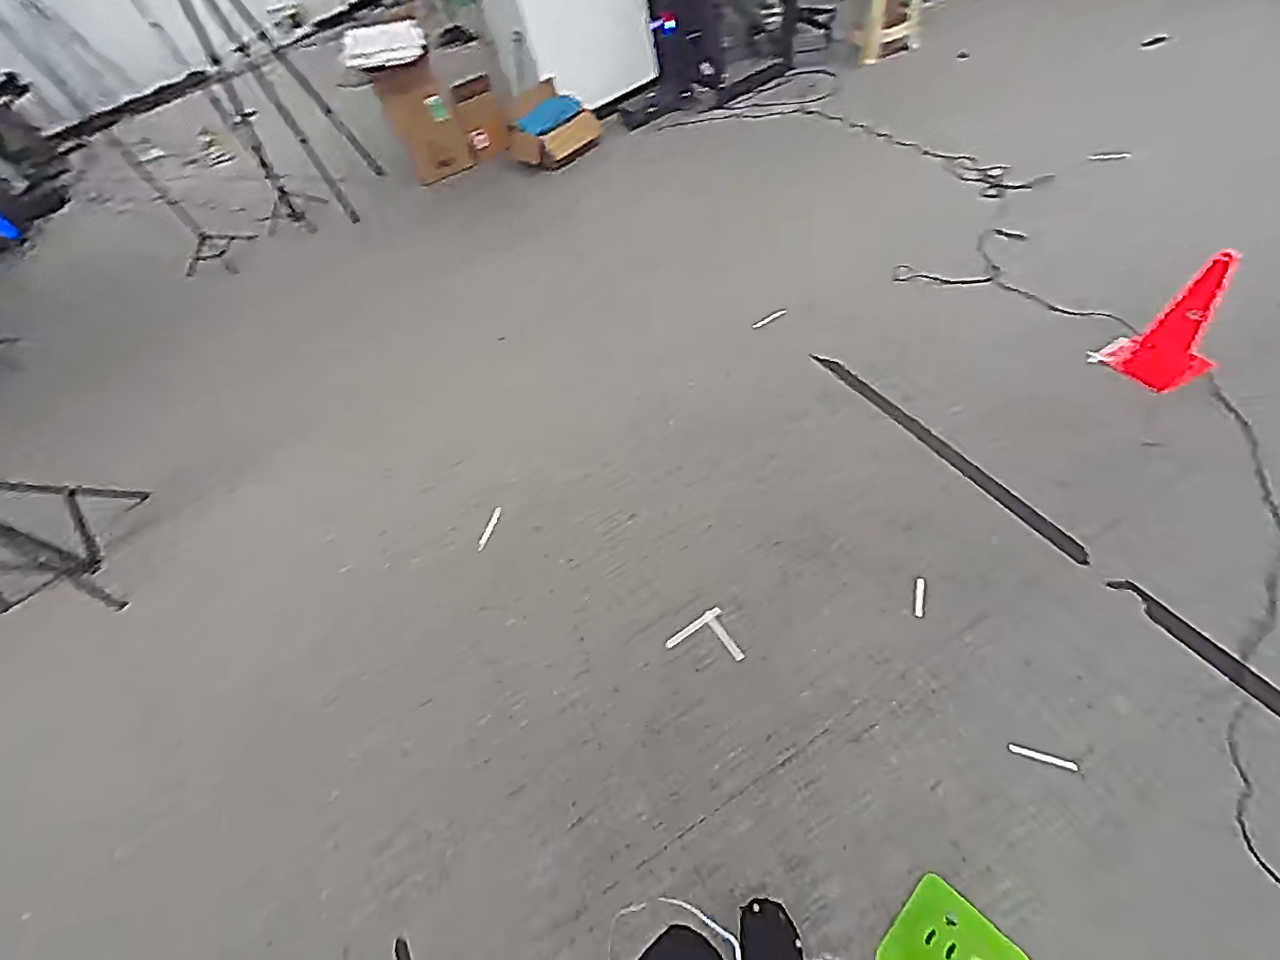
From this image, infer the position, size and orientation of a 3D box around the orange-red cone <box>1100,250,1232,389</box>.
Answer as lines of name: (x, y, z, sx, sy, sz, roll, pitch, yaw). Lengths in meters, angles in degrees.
orange-red cone: (1.493, -0.460, 1.481, 0.198, 0.360, 0.199, -25, 52, -3)

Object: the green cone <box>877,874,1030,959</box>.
green cone: (0.525, 0.768, 0.844, 0.200, 0.368, 0.202, -43, 53, -18)
